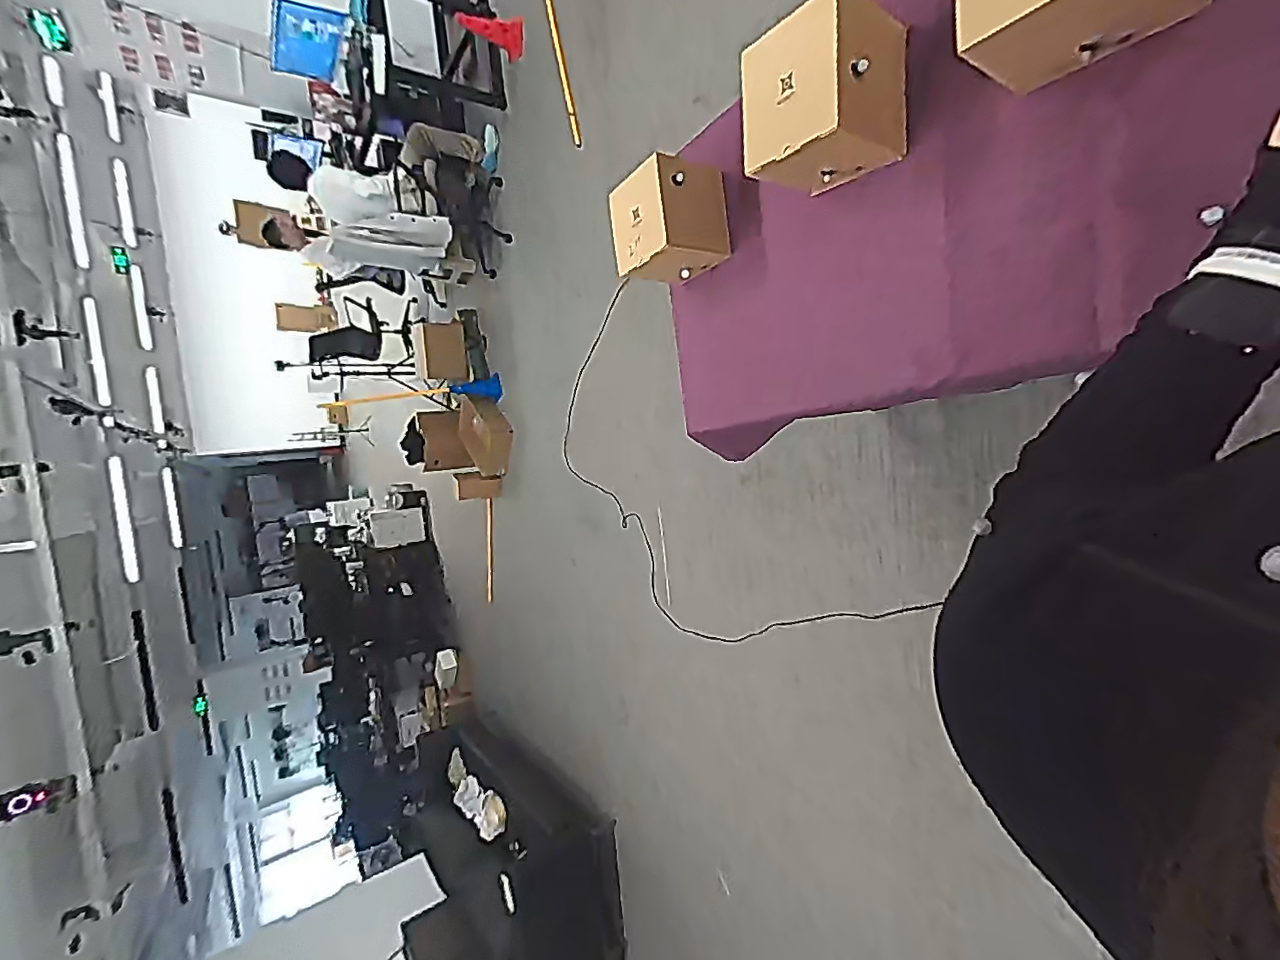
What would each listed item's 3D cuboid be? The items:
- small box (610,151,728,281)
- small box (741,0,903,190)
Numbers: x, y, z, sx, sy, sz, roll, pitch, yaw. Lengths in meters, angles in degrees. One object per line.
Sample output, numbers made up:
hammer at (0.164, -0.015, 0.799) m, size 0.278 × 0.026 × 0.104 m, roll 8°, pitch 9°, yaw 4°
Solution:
small box at (0.060, -0.525, 1.104) m, size 0.168 × 0.176 × 0.179 m, roll -5°, pitch 93°, yaw 55°
small box at (0.270, -0.561, 0.804) m, size 0.168 × 0.176 × 0.179 m, roll 8°, pitch 104°, yaw 54°
